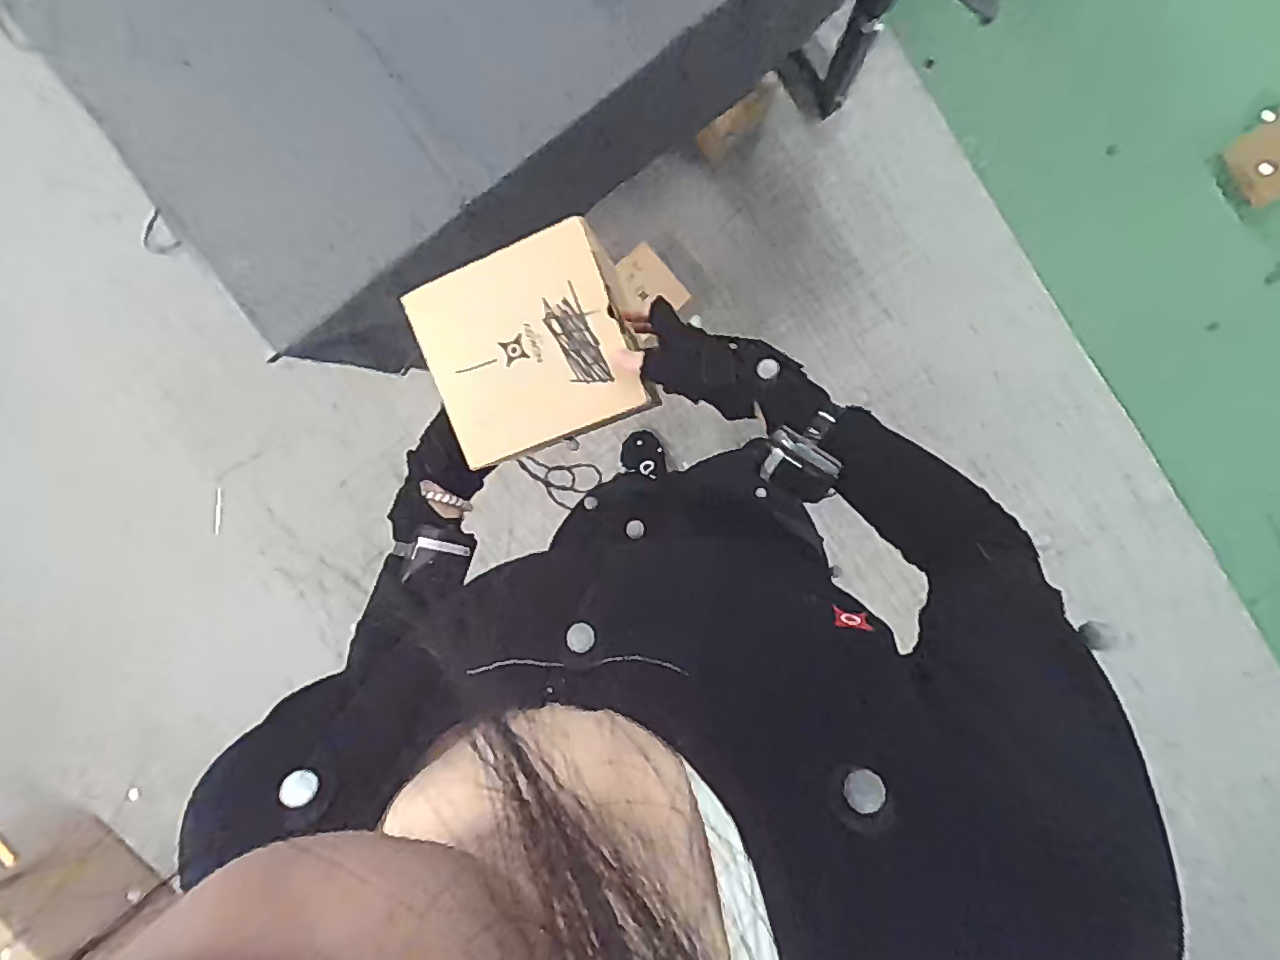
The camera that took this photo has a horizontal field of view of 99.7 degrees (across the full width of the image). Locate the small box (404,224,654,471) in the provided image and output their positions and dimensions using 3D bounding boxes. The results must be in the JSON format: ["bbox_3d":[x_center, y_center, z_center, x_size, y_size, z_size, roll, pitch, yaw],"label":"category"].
[{"bbox_3d":[-0.091,-0.122,0.542,0.179,0.176,0.168,-19,95,9],"label":"small box"}]

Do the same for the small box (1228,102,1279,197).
[{"bbox_3d":[1.470,-0.765,1.186,0.179,0.176,0.168,-35,93,9],"label":"small box"}]
